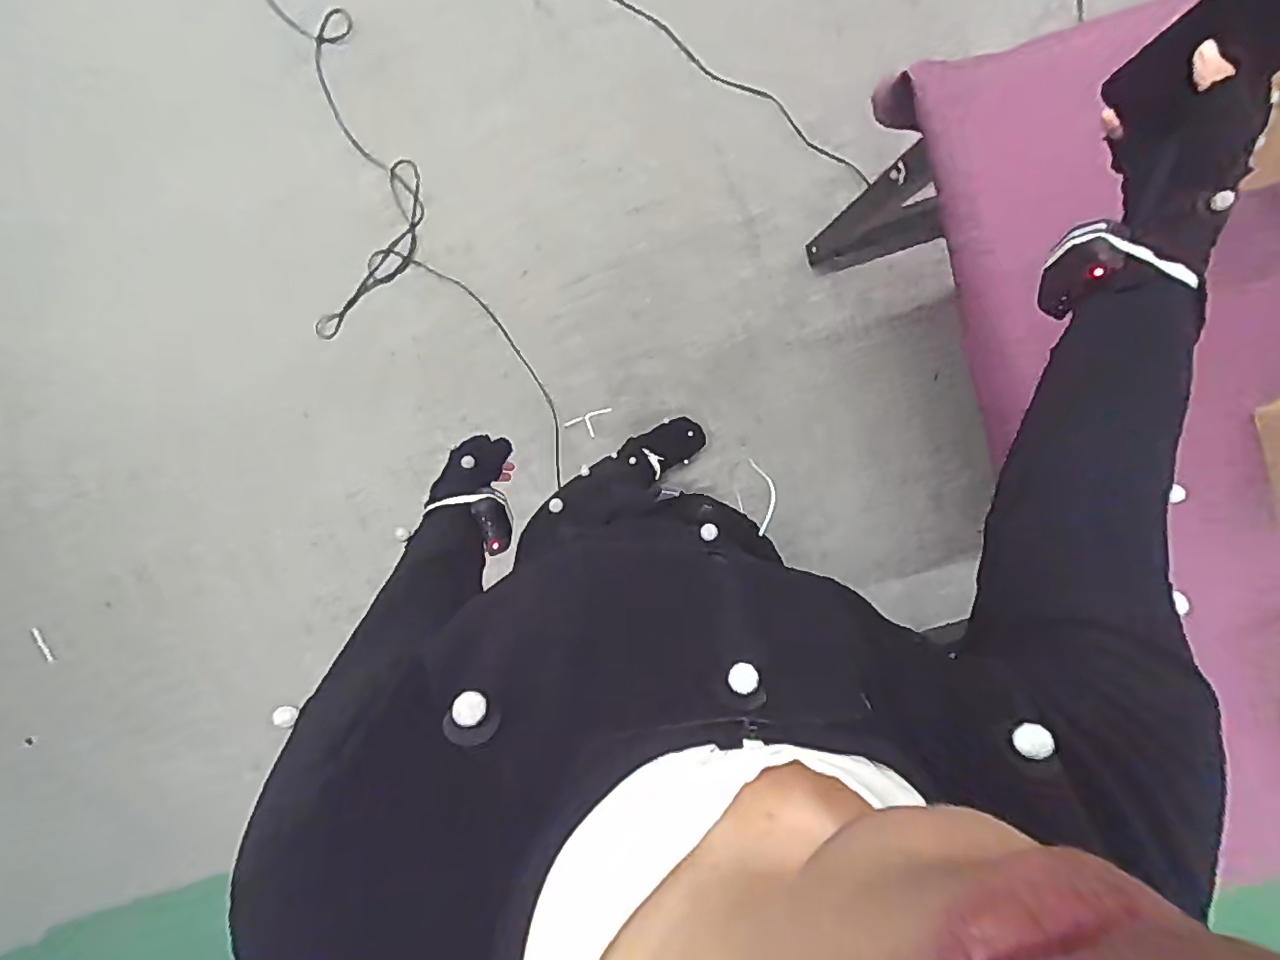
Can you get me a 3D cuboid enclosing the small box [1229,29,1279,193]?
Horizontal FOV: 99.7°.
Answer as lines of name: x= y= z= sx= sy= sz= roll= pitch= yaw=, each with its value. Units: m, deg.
small box: x=0.786 y=-0.428 z=0.557 sx=0.179 sy=0.176 sz=0.168 roll=-15 pitch=99 yaw=5
